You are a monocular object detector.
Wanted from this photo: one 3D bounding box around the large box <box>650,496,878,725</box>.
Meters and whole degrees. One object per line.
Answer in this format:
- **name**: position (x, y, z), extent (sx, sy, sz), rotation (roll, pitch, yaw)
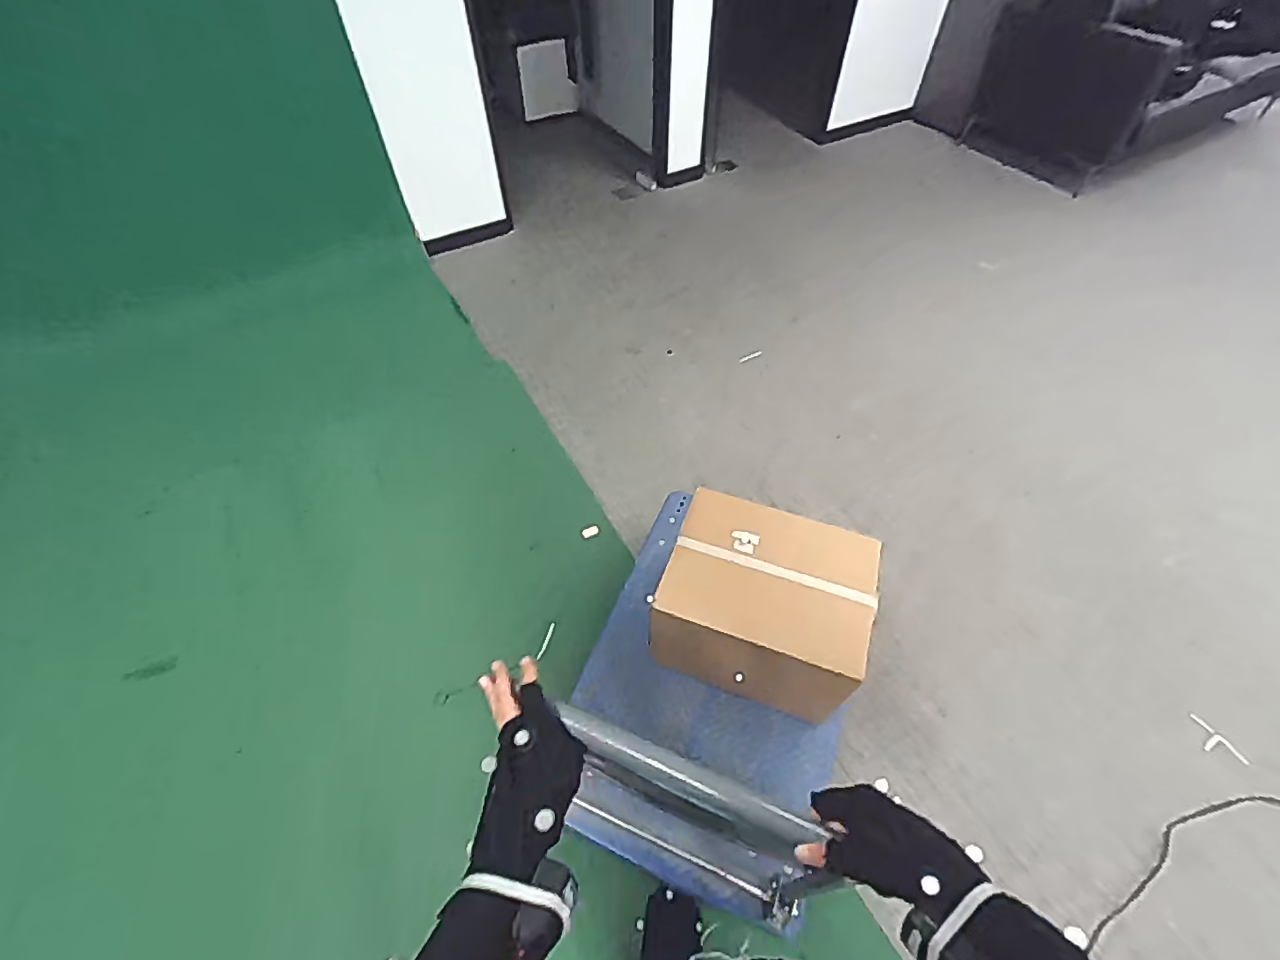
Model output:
- **large box**: position (0.264, 0.288, 1.198), extent (0.408, 0.320, 0.320), rotation (16, 53, 15)
